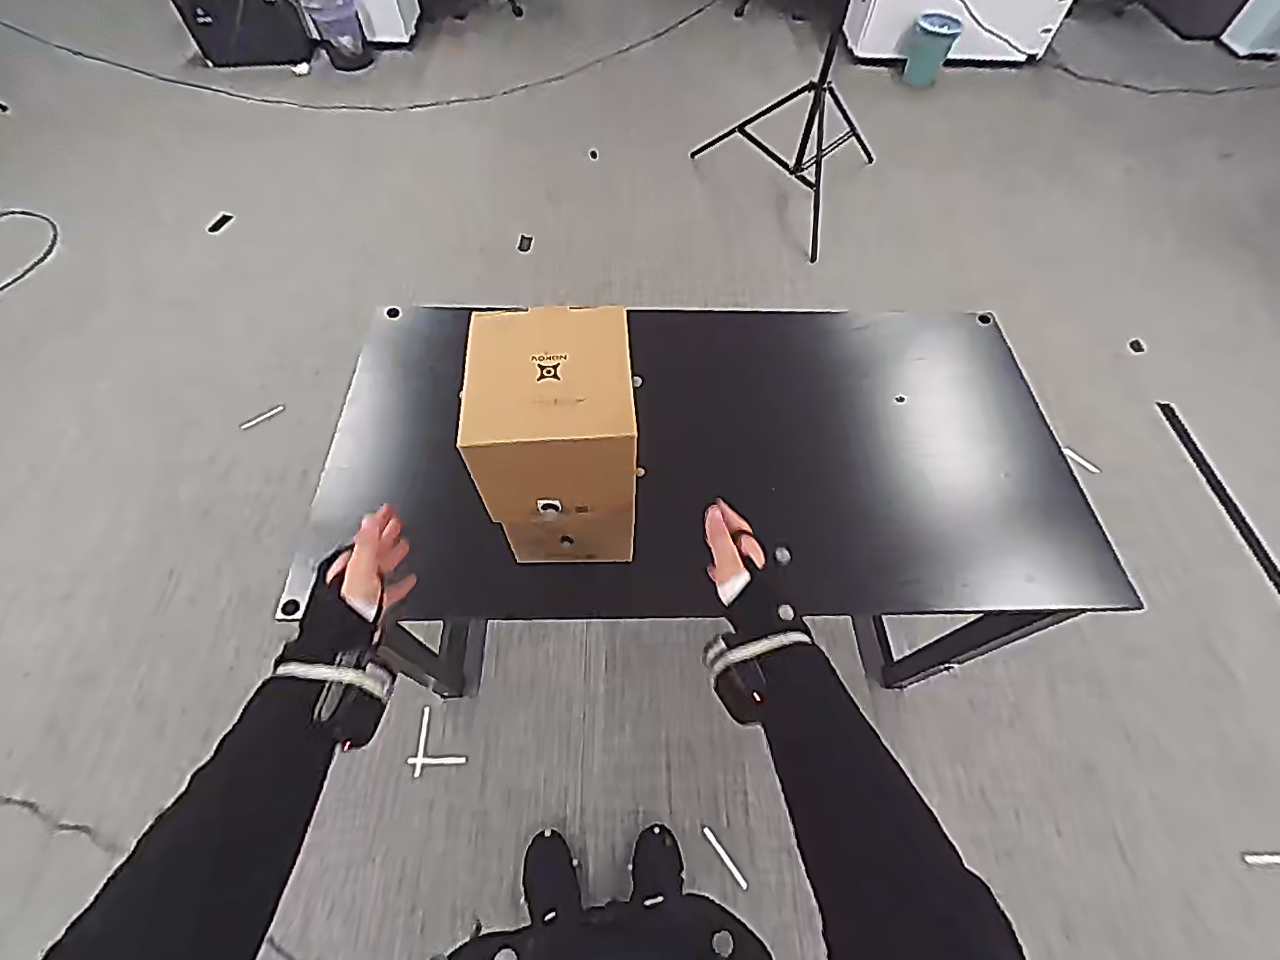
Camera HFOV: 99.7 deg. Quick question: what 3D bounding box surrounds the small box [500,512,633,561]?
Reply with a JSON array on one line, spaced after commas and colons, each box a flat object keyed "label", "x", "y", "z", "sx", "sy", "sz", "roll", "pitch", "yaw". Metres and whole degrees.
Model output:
[{"label": "small box", "x": -0.093, "y": 0.008, "z": 0.762, "sx": 0.168, "sy": 0.176, "sz": 0.179, "roll": 0, "pitch": 59, "yaw": -3}]

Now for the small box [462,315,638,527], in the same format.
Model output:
[{"label": "small box", "x": -0.092, "y": -0.063, "z": 0.615, "sx": 0.168, "sy": 0.176, "sz": 0.179, "roll": -4, "pitch": 60, "yaw": -3}]
